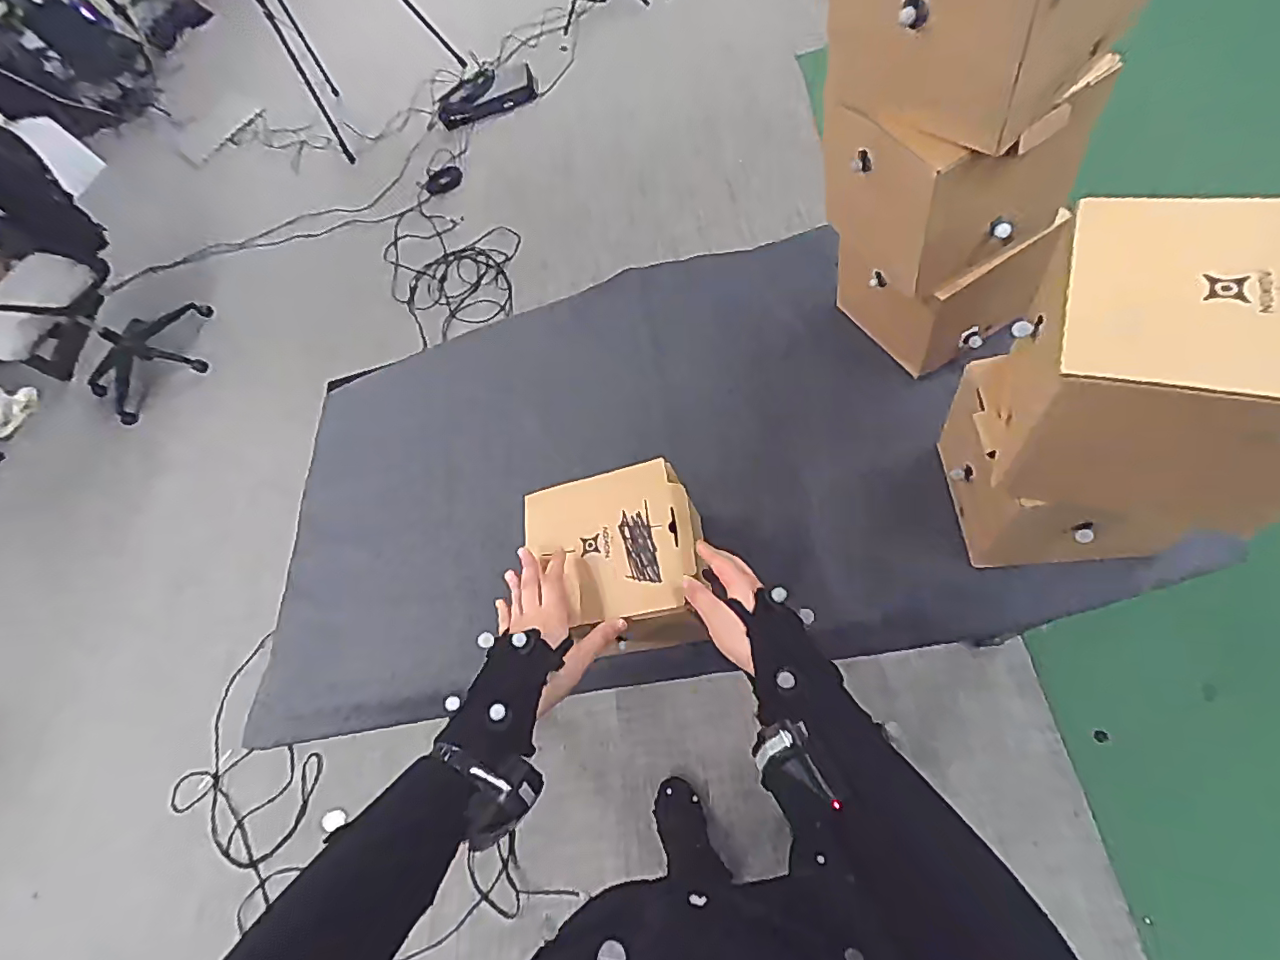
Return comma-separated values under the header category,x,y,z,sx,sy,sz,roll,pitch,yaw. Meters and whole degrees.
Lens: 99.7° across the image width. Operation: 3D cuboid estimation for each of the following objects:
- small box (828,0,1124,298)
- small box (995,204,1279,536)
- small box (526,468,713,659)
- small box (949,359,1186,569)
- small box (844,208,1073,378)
category,x,y,z,sx,sy,sz,roll,pitch,yaw
small box,0.308,-0.324,0.547,0.168,0.176,0.179,-30,61,6
small box,0.390,-0.075,0.401,0.179,0.176,0.168,14,68,23
small box,-0.017,0.108,0.638,0.179,0.176,0.168,-14,62,14
small box,0.432,-0.015,0.548,0.179,0.176,0.168,-7,61,15
small box,0.378,-0.265,0.686,0.168,0.176,0.179,-33,62,4
